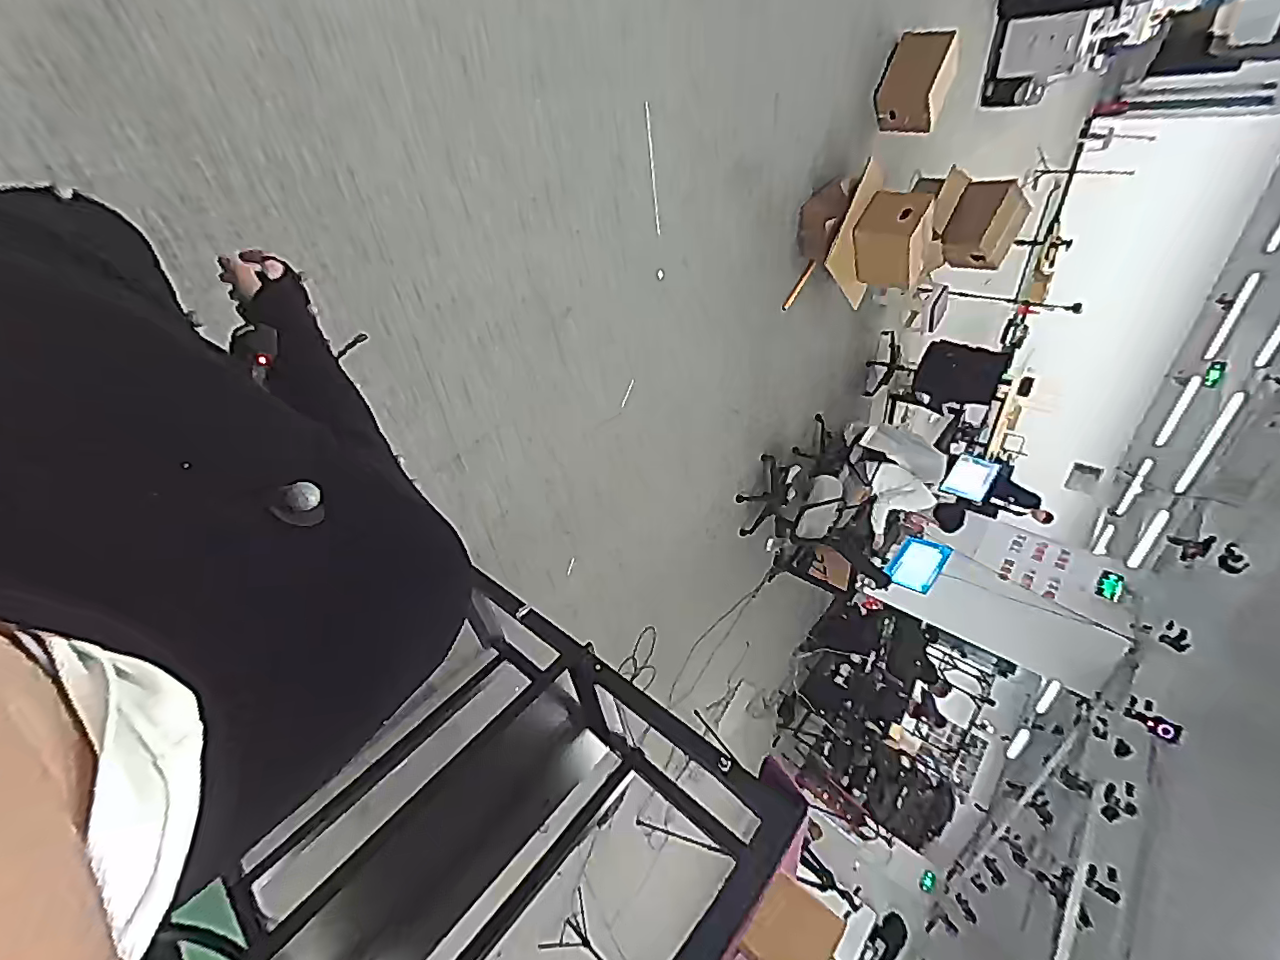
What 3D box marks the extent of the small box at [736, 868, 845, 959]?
[{"bbox_3d":[0.333,1.023,1.212,0.179,0.176,0.168,-40,139,-29],"label":"small box"}]
